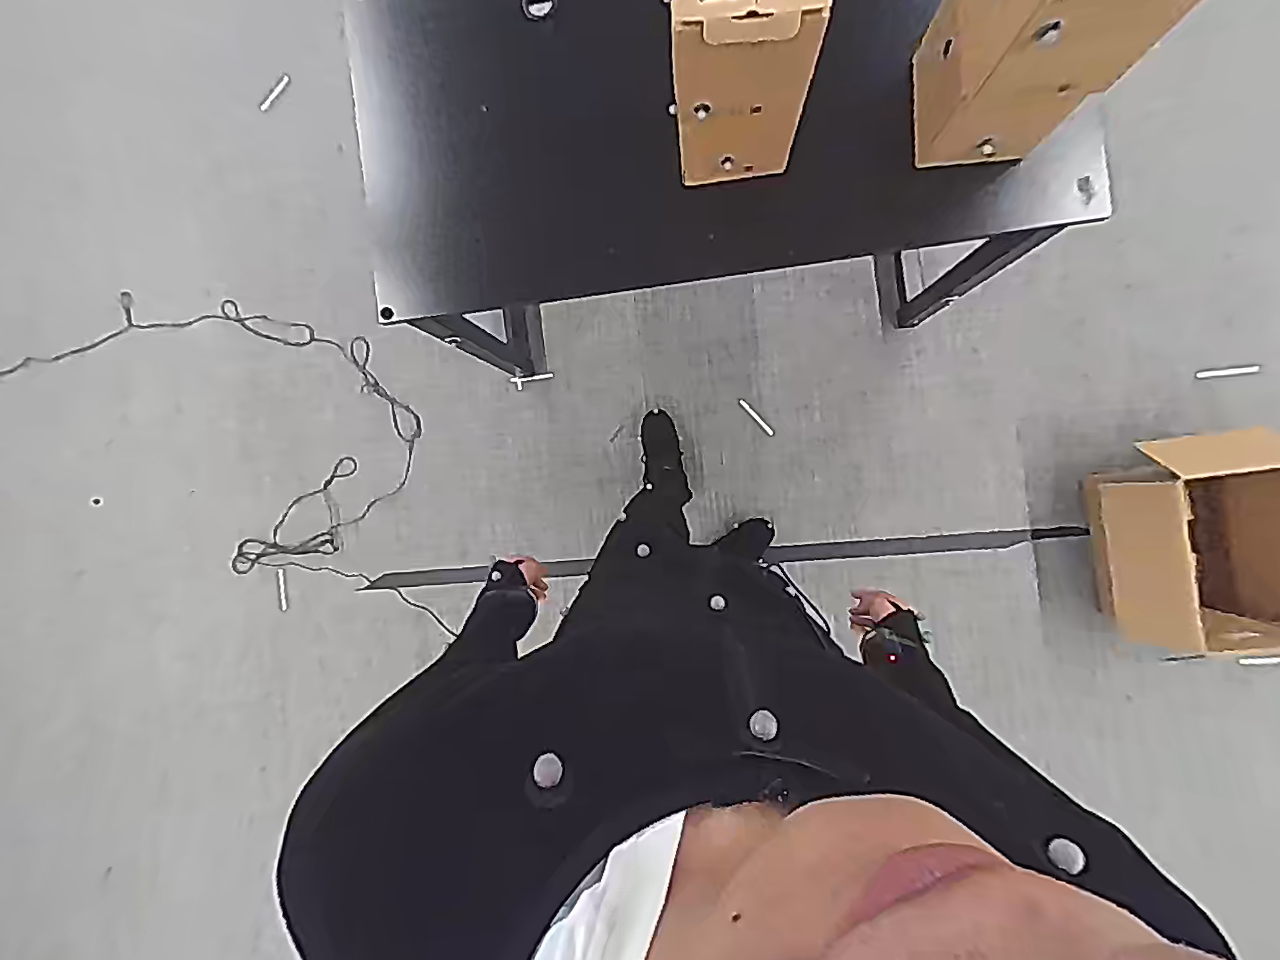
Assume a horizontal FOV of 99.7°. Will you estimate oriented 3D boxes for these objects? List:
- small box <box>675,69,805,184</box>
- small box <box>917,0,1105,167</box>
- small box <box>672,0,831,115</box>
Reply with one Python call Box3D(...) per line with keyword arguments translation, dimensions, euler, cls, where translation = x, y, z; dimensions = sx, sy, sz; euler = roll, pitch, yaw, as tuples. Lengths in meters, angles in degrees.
Box3D(translation=(0.139, -0.579, 0.805), dimensions=(0.168, 0.176, 0.179), euler=(-5, 91, 6), cls="small box")
Box3D(translation=(0.507, -0.579, 0.764), dimensions=(0.168, 0.176, 0.179), euler=(-1, 91, 7), cls="small box")
Box3D(translation=(0.125, -0.567, 0.642), dimensions=(0.168, 0.176, 0.179), euler=(0, 91, 5), cls="small box")
